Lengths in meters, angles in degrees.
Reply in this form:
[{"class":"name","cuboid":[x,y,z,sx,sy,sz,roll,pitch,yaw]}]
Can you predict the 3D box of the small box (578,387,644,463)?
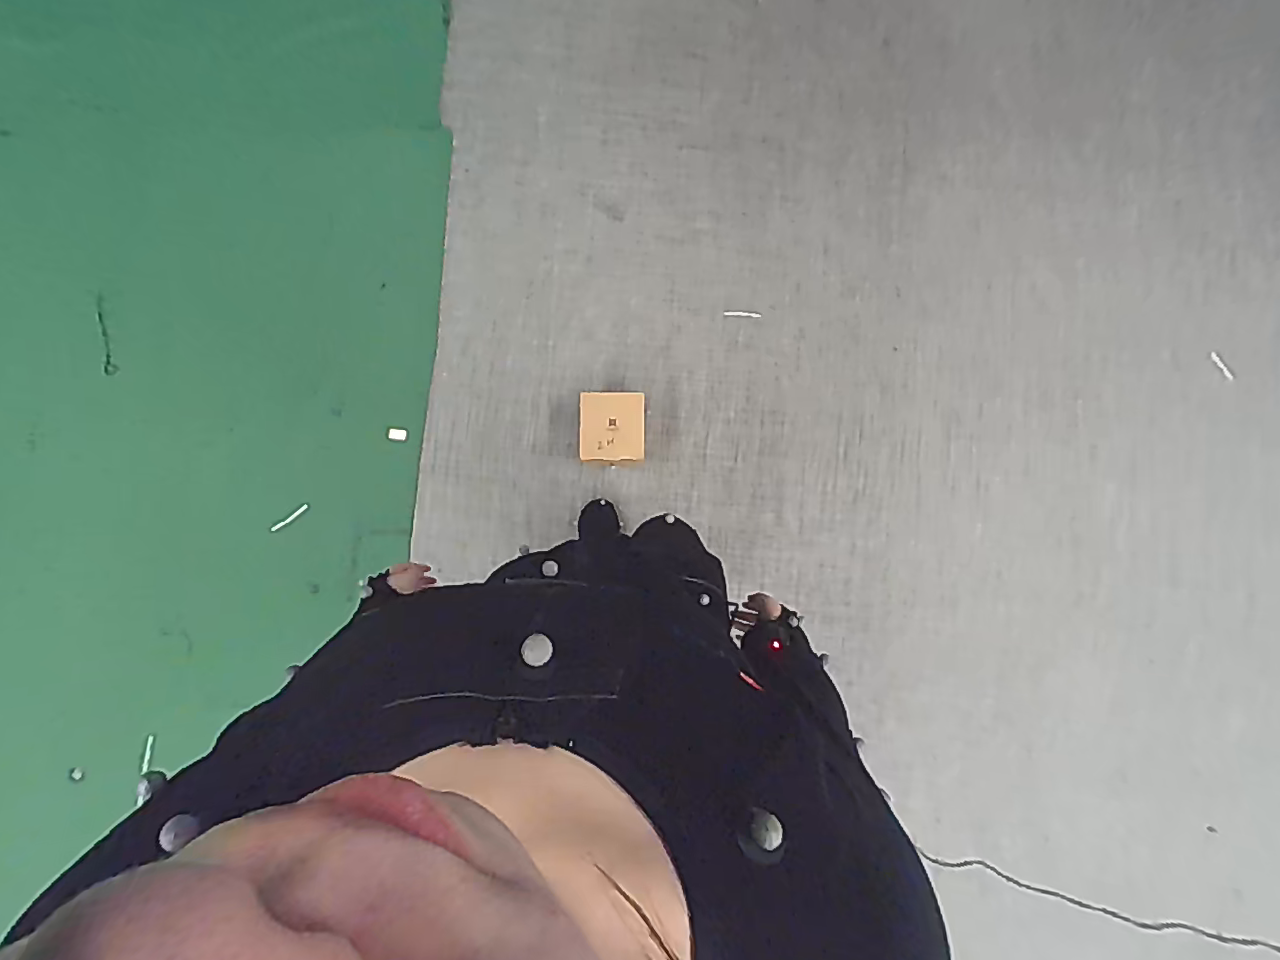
[{"class":"small box","cuboid":[-0.076,-0.141,1.437,0.168,0.176,0.179,0,87,-1]}]
